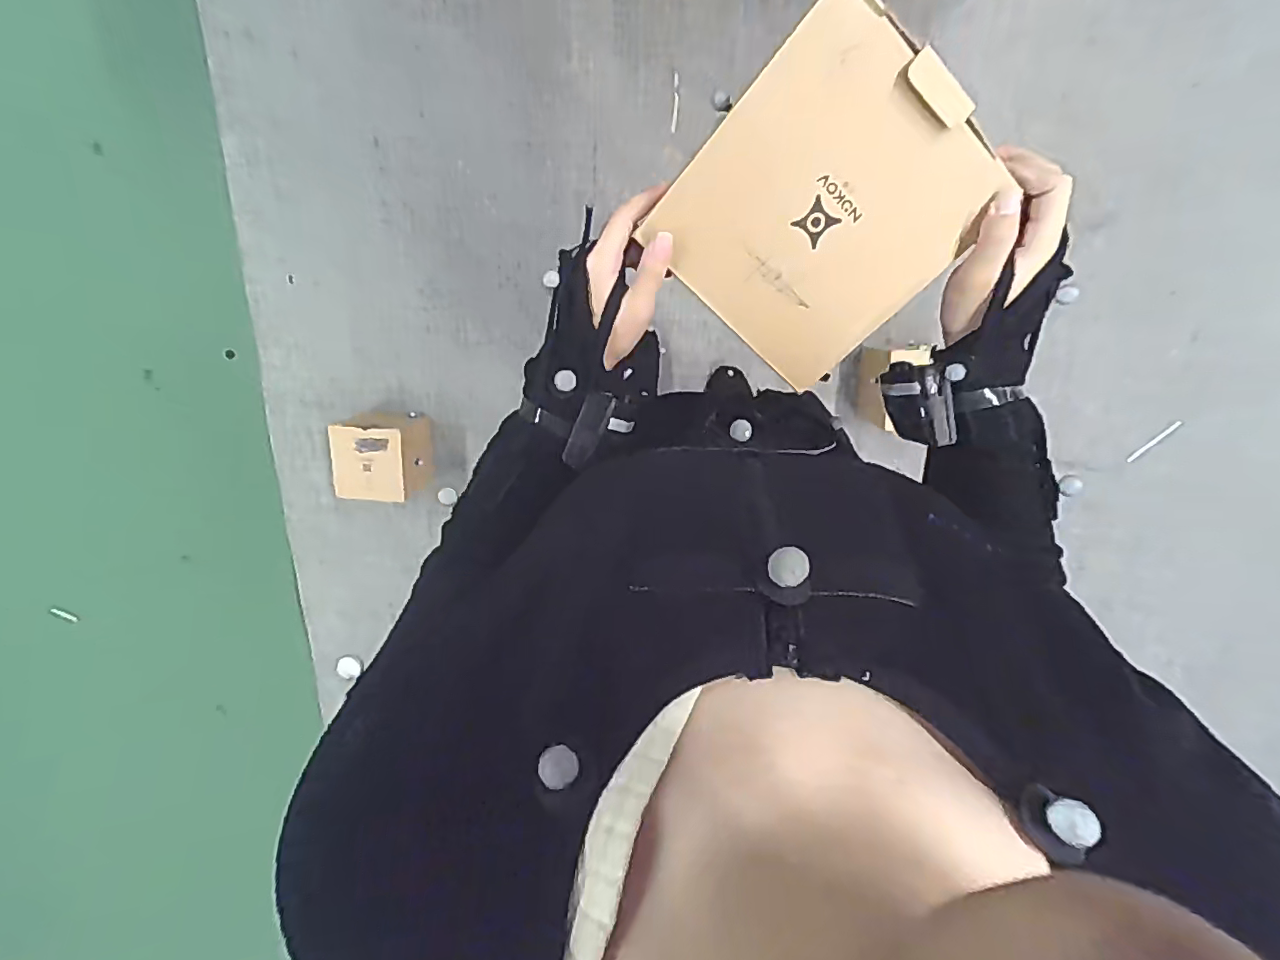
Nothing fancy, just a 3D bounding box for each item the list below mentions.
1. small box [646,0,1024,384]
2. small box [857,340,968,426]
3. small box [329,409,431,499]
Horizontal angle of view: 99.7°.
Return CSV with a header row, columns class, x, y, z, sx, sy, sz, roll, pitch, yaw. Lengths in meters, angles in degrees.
class,x,y,z,sx,sy,sz,roll,pitch,yaw
small box,0.125,-0.212,0.409,0.168,0.176,0.179,38,119,-15
small box,0.606,-0.224,1.224,0.168,0.176,0.179,-3,106,2
small box,-0.614,-0.068,1.296,0.168,0.176,0.179,5,108,0
